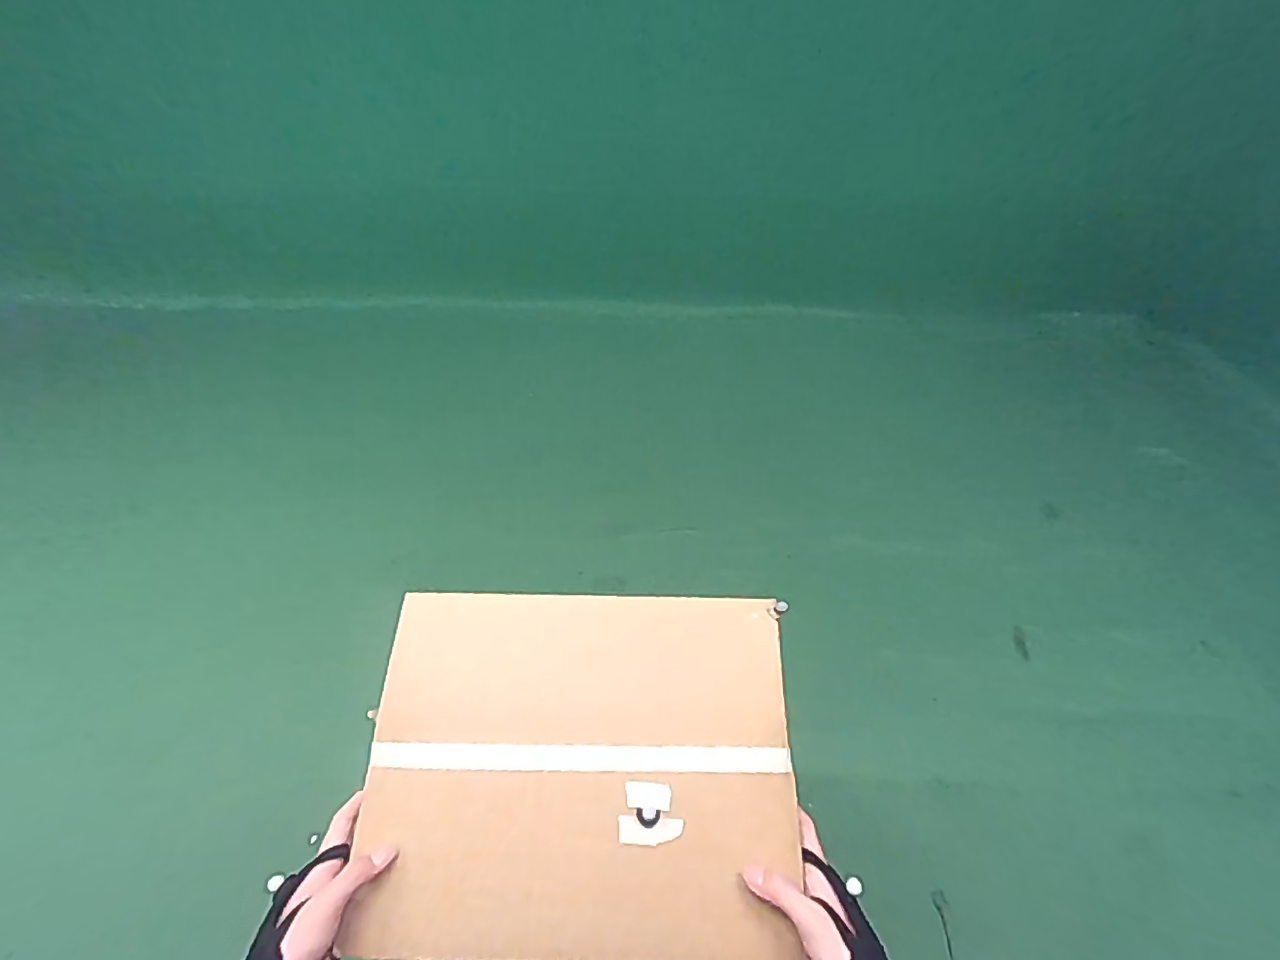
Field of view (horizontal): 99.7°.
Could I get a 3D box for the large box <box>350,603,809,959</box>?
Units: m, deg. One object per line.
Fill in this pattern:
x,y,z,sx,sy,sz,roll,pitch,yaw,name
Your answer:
-0.055,0.342,0.660,0.408,0.320,0.320,1,64,-1,large box
